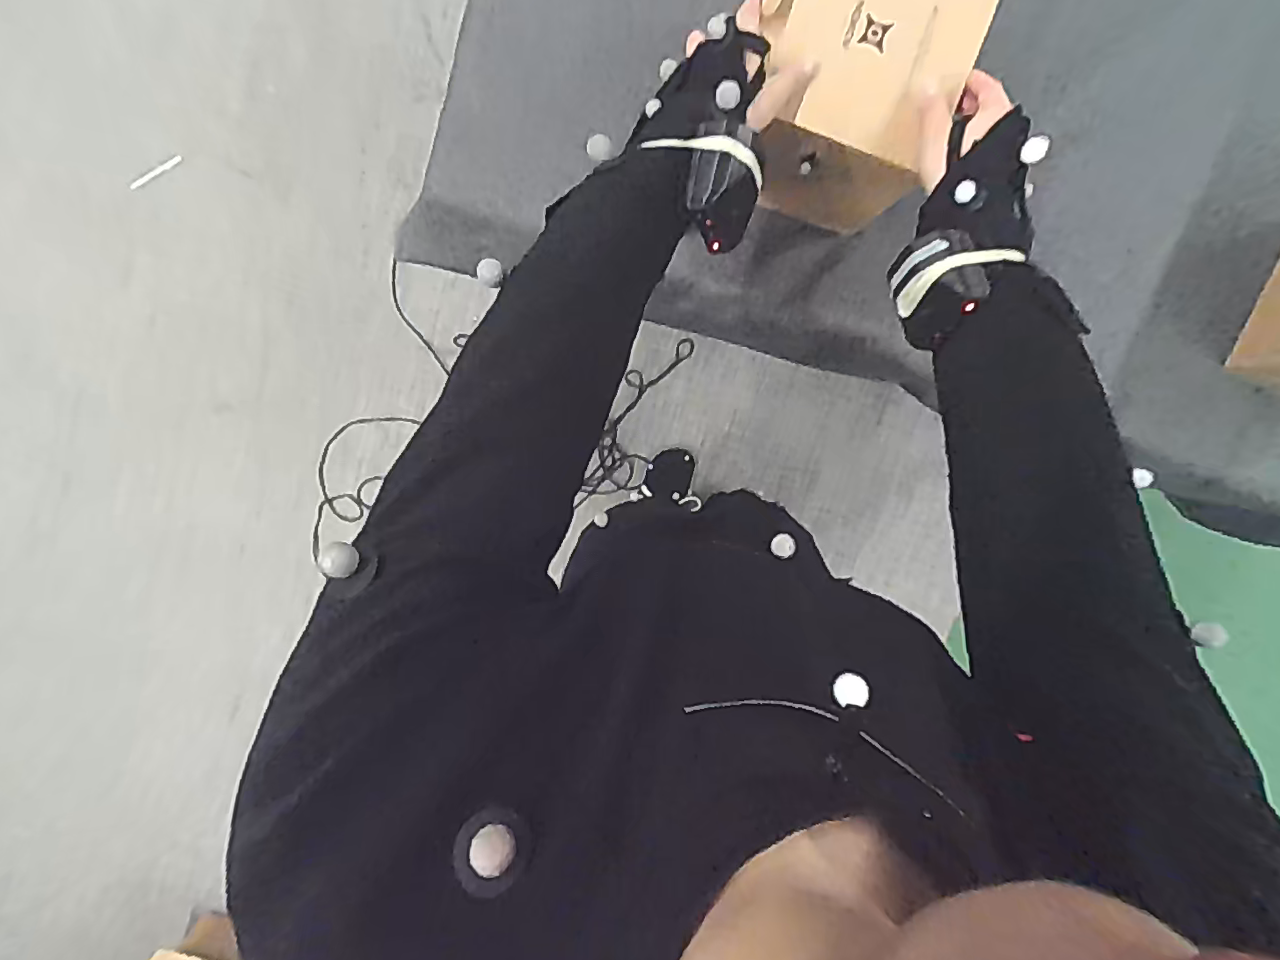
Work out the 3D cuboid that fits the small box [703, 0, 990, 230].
[{"bbox_3d":[0.170,-0.358,0.499,0.179,0.176,0.168,18,98,-4],"label":"small box"}]
